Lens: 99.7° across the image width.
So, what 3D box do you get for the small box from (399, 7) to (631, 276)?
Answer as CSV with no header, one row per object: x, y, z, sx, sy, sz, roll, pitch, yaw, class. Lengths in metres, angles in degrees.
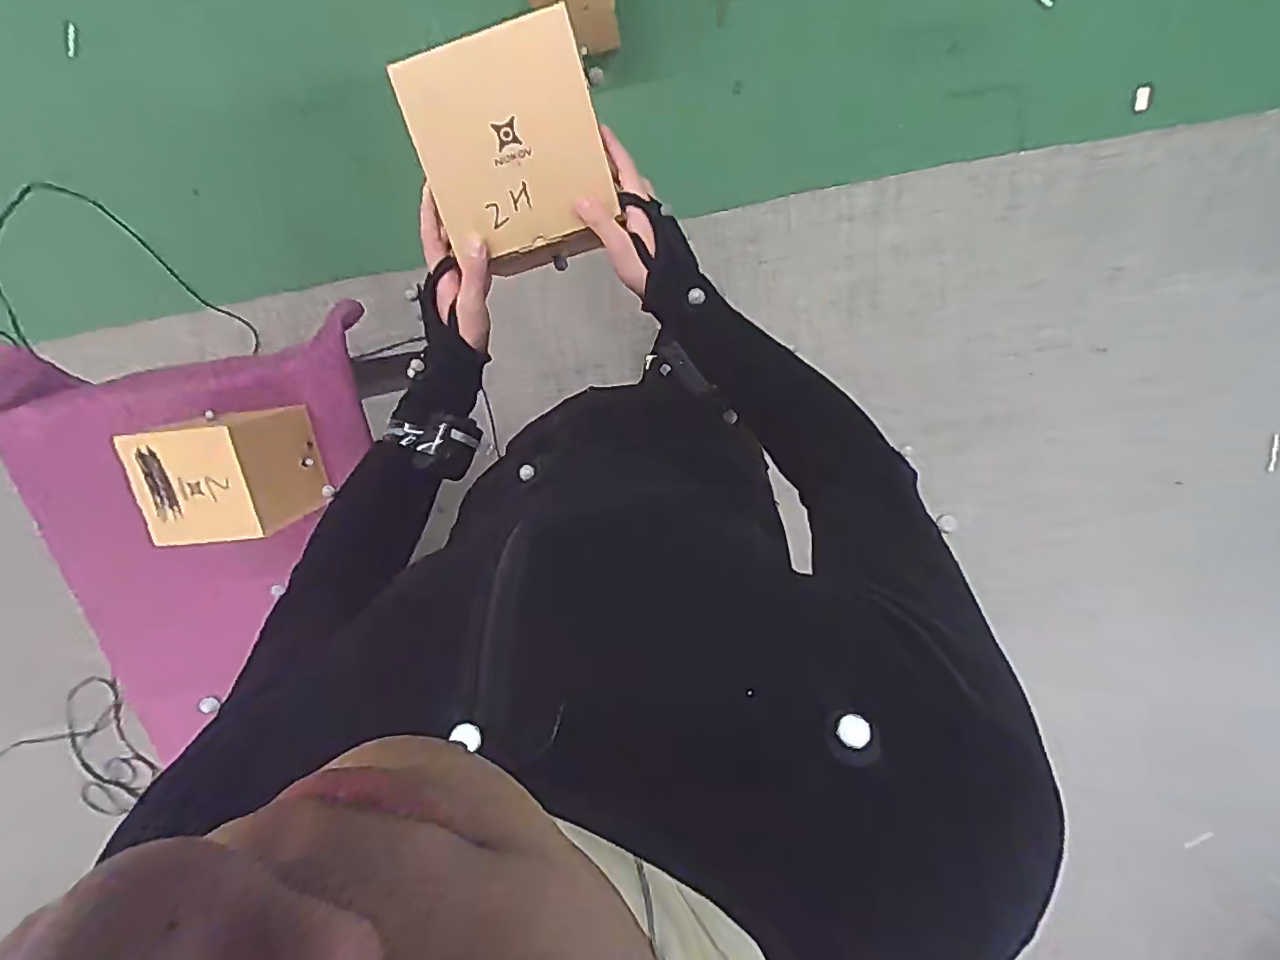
-0.110,-0.325,0.562,0.168,0.176,0.179,-14,108,6,small box

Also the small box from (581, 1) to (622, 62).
-0.141,-1.102,1.246,0.168,0.176,0.179,-8,106,7,small box

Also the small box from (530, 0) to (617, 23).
-0.148,-1.059,1.092,0.168,0.176,0.179,-8,104,7,small box
